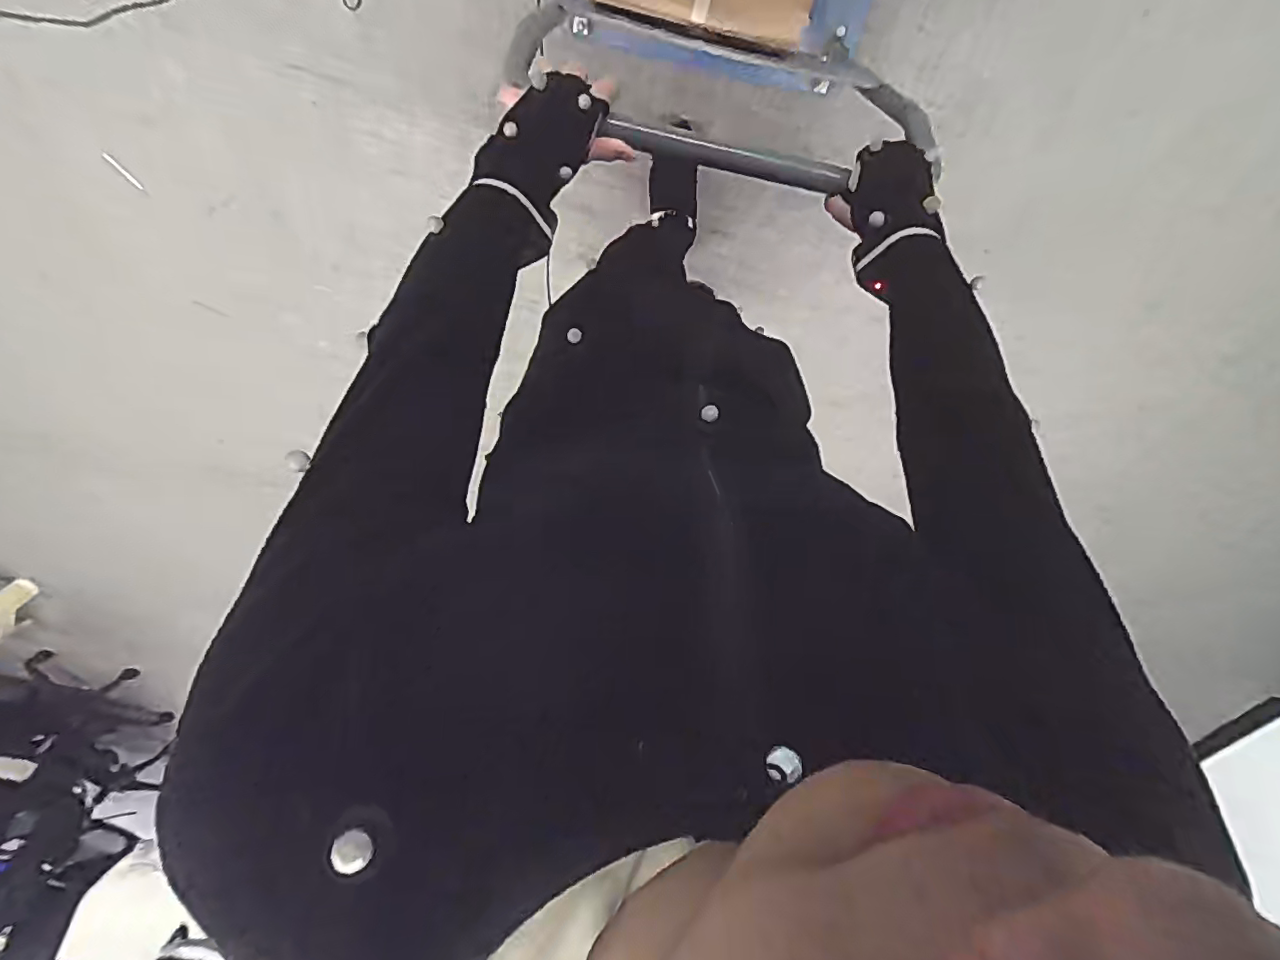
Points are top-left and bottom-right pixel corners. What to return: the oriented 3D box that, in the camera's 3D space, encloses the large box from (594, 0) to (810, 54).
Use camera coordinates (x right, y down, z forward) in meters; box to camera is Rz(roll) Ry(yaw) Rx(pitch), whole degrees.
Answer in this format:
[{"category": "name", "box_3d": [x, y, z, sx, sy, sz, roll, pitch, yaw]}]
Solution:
[{"category": "large box", "box_3d": [0.123, -0.907, 0.791, 0.320, 0.320, 0.408, 10, 130, -6]}]
